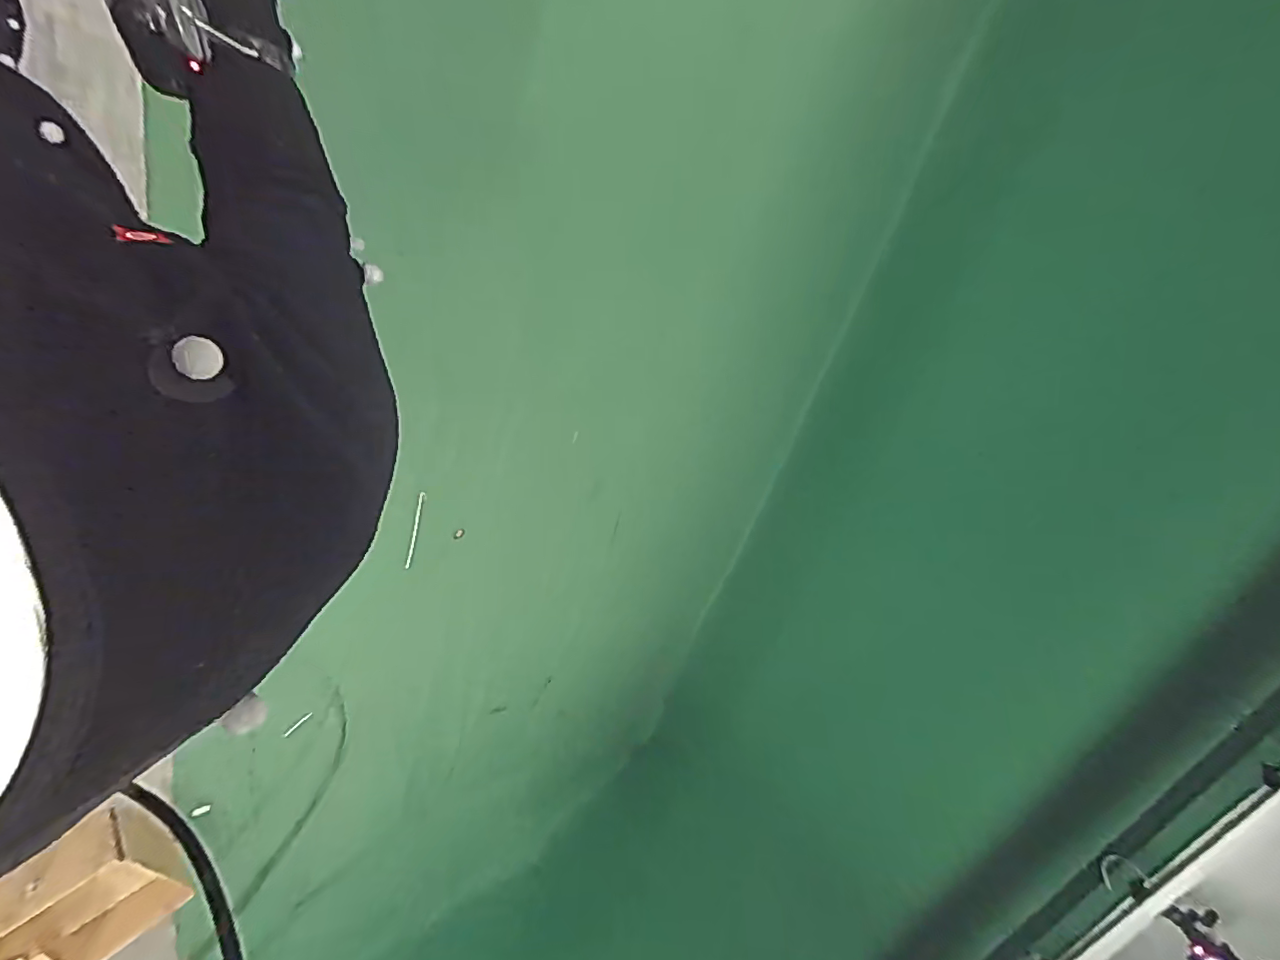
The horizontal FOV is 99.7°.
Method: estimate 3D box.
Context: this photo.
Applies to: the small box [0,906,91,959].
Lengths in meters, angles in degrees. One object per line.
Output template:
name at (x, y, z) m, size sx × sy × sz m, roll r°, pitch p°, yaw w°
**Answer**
small box at (-1.668, 1.327, 1.486) m, size 0.168 × 0.176 × 0.179 m, roll -26°, pitch 138°, yaw -37°
